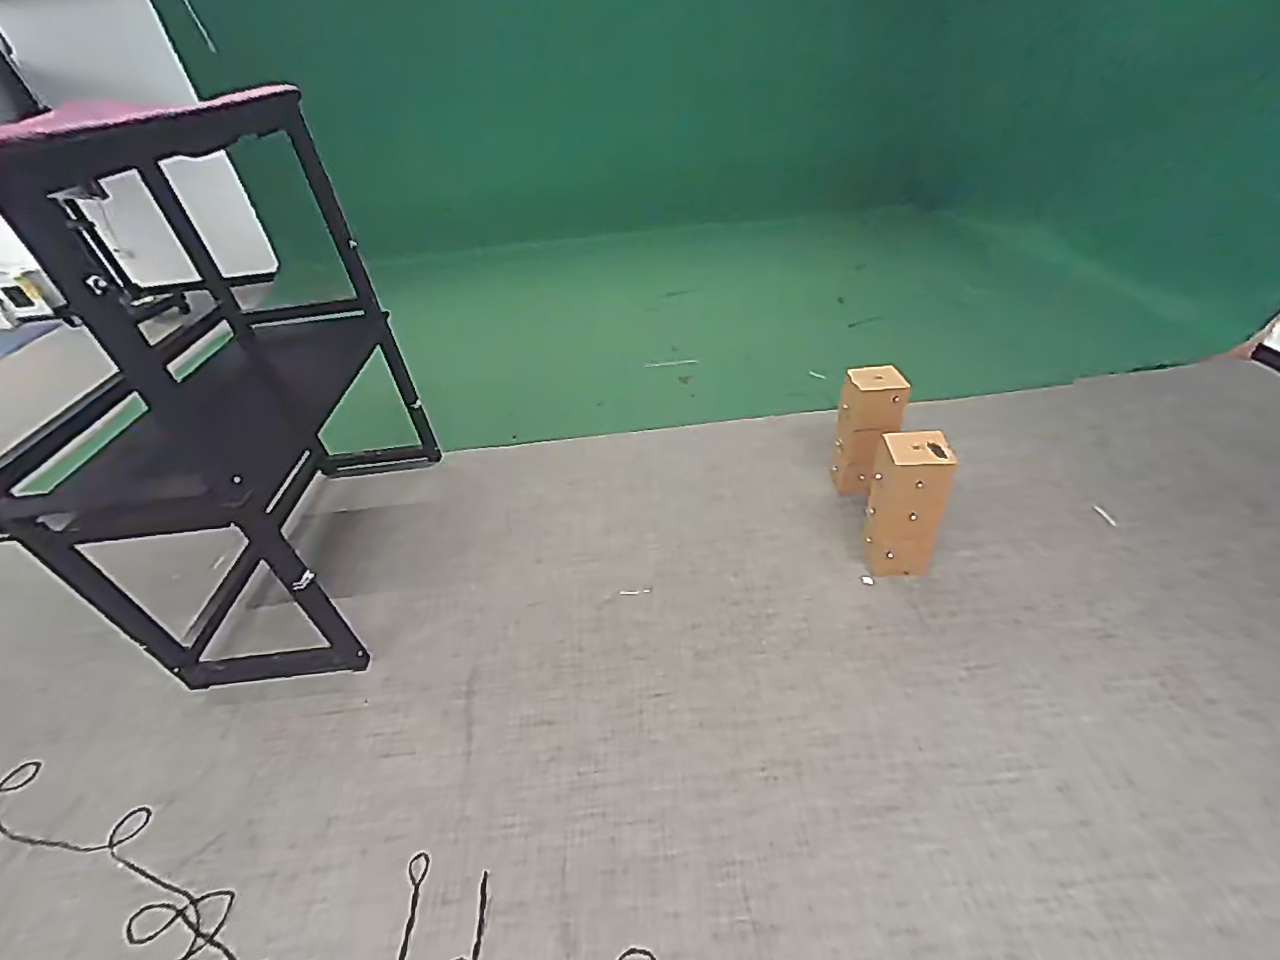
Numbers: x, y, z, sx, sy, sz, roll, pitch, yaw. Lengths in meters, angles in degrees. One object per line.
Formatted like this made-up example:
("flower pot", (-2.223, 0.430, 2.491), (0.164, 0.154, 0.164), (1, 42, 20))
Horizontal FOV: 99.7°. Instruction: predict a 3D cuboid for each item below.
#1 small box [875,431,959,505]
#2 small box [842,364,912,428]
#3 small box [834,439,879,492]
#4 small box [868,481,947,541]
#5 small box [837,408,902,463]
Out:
("small box", (0.851, -0.035, 1.678), (0.179, 0.176, 0.168), (-1, 41, 9))
("small box", (0.867, -0.308, 1.993), (0.179, 0.176, 0.168), (-5, 39, 1))
("small box", (0.901, -0.063, 2.209), (0.179, 0.176, 0.168), (-4, 41, 4))
("small box", (0.875, 0.089, 1.784), (0.179, 0.176, 0.168), (-2, 41, 7))
("small box", (0.885, -0.184, 2.101), (0.179, 0.176, 0.168), (-6, 39, 2))
